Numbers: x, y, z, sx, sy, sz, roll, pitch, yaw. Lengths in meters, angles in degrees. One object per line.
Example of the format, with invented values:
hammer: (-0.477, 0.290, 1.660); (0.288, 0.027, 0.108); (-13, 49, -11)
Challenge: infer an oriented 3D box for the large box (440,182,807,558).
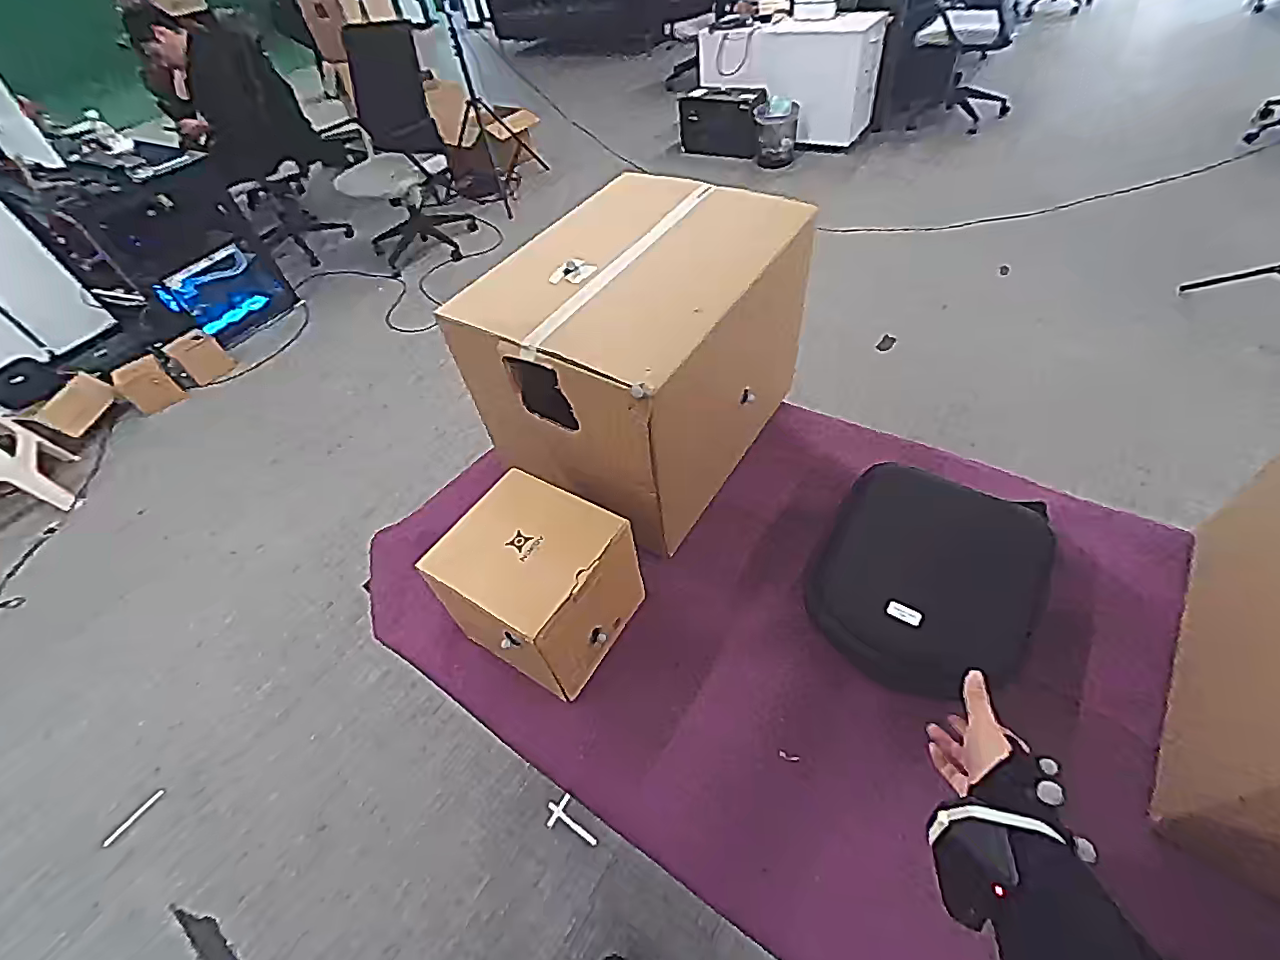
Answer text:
large box: (0.007, -0.170, 0.791); (0.320, 0.320, 0.408); (24, 59, 25)

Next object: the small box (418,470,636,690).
small box: (-0.122, 0.123, 0.653); (0.179, 0.176, 0.168); (22, 55, 24)
